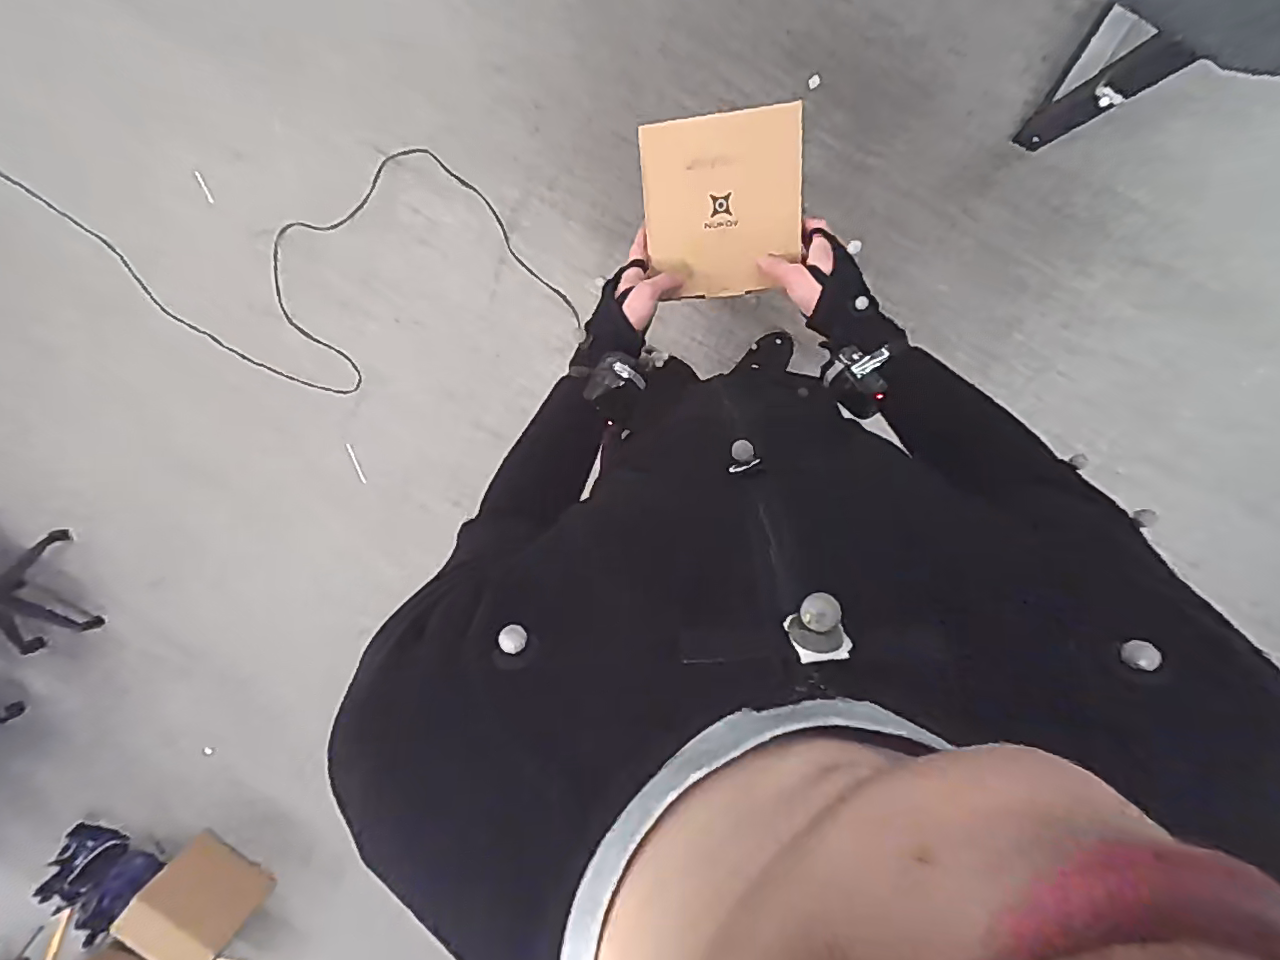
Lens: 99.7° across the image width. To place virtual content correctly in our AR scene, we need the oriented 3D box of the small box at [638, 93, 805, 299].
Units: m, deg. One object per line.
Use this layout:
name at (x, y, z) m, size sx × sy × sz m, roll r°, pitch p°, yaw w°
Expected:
small box at (0.096, -0.310, 0.628) m, size 0.168 × 0.176 × 0.179 m, roll -2°, pitch 108°, yaw 9°

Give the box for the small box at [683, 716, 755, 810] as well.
small box at (0.253, 0.904, 1.745) m, size 0.168 × 0.176 × 0.179 m, roll 29°, pitch 109°, yaw 0°
